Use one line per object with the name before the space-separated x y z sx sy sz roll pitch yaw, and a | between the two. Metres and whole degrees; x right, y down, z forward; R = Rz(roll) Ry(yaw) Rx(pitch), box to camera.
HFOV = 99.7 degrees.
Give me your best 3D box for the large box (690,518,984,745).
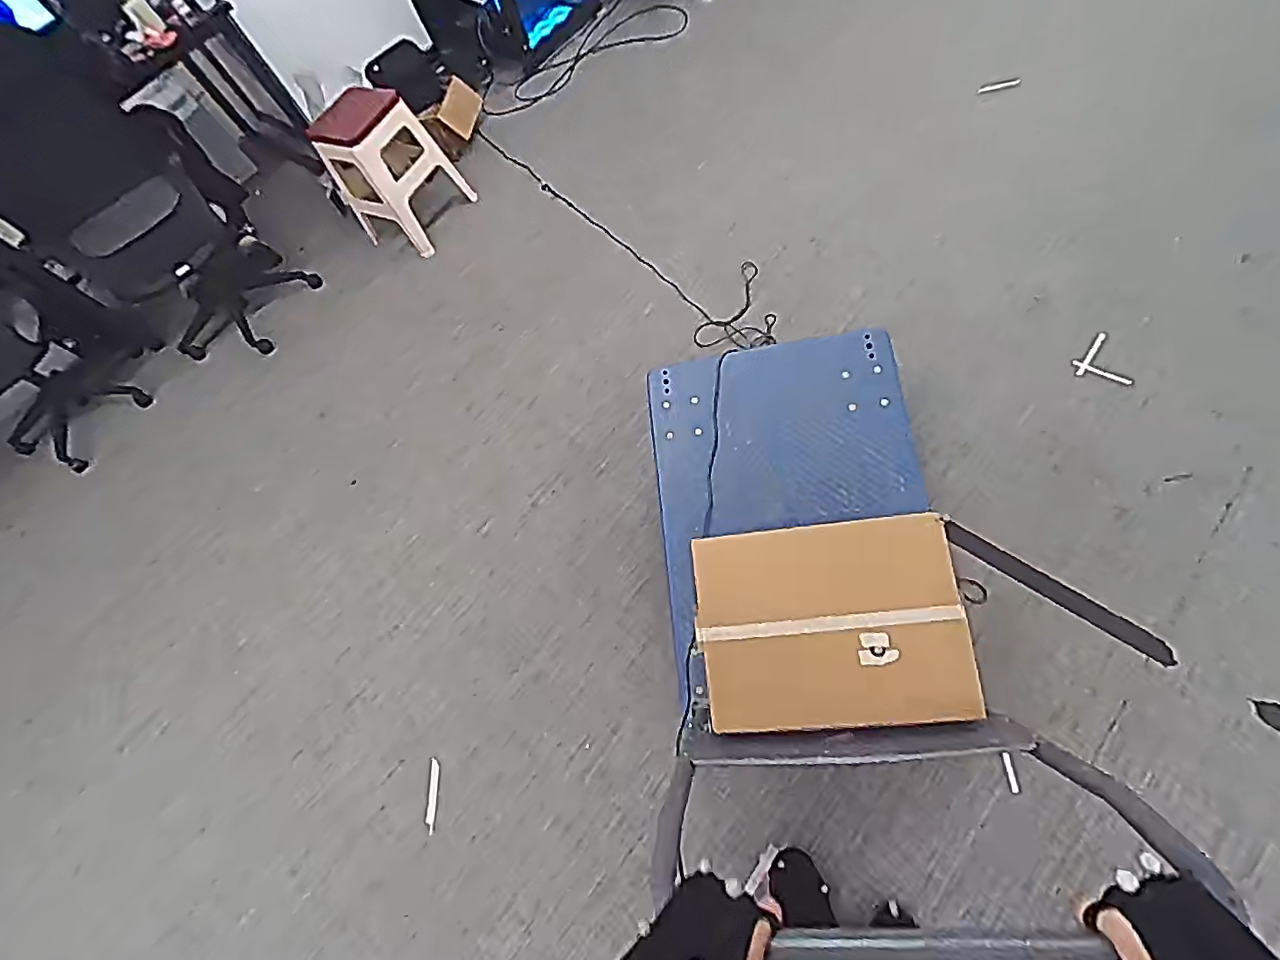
large box | 0.320 0.267 0.992 0.408 0.320 0.320 -8 78 9
